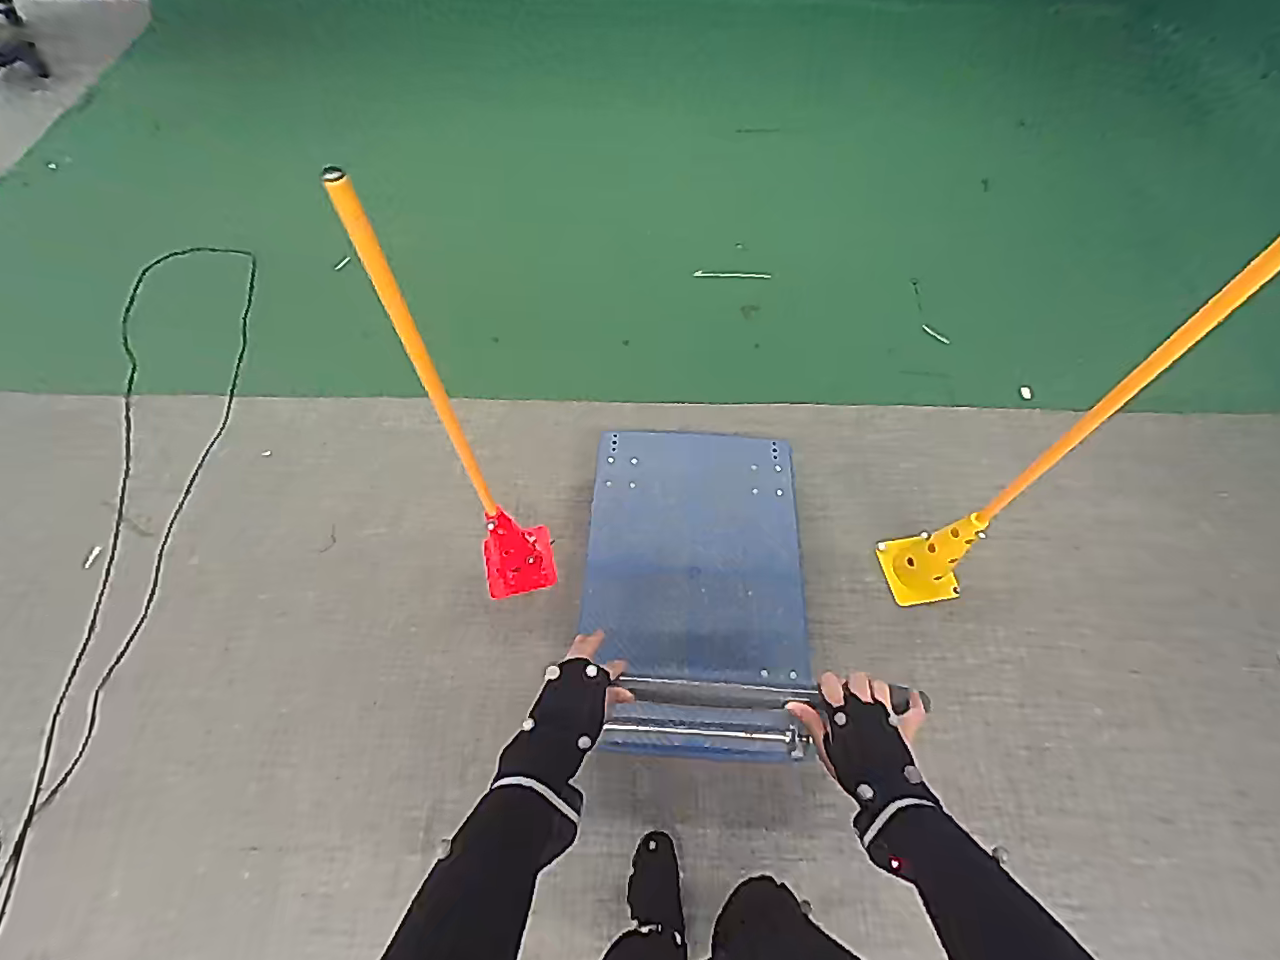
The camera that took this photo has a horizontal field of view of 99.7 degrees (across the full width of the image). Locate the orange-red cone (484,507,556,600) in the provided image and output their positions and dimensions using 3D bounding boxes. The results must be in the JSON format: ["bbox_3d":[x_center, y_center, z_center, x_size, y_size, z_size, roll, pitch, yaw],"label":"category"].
[{"bbox_3d":[-0.361,0.168,1.467,0.199,0.360,0.198,-13,62,-5],"label":"orange-red cone"}]
